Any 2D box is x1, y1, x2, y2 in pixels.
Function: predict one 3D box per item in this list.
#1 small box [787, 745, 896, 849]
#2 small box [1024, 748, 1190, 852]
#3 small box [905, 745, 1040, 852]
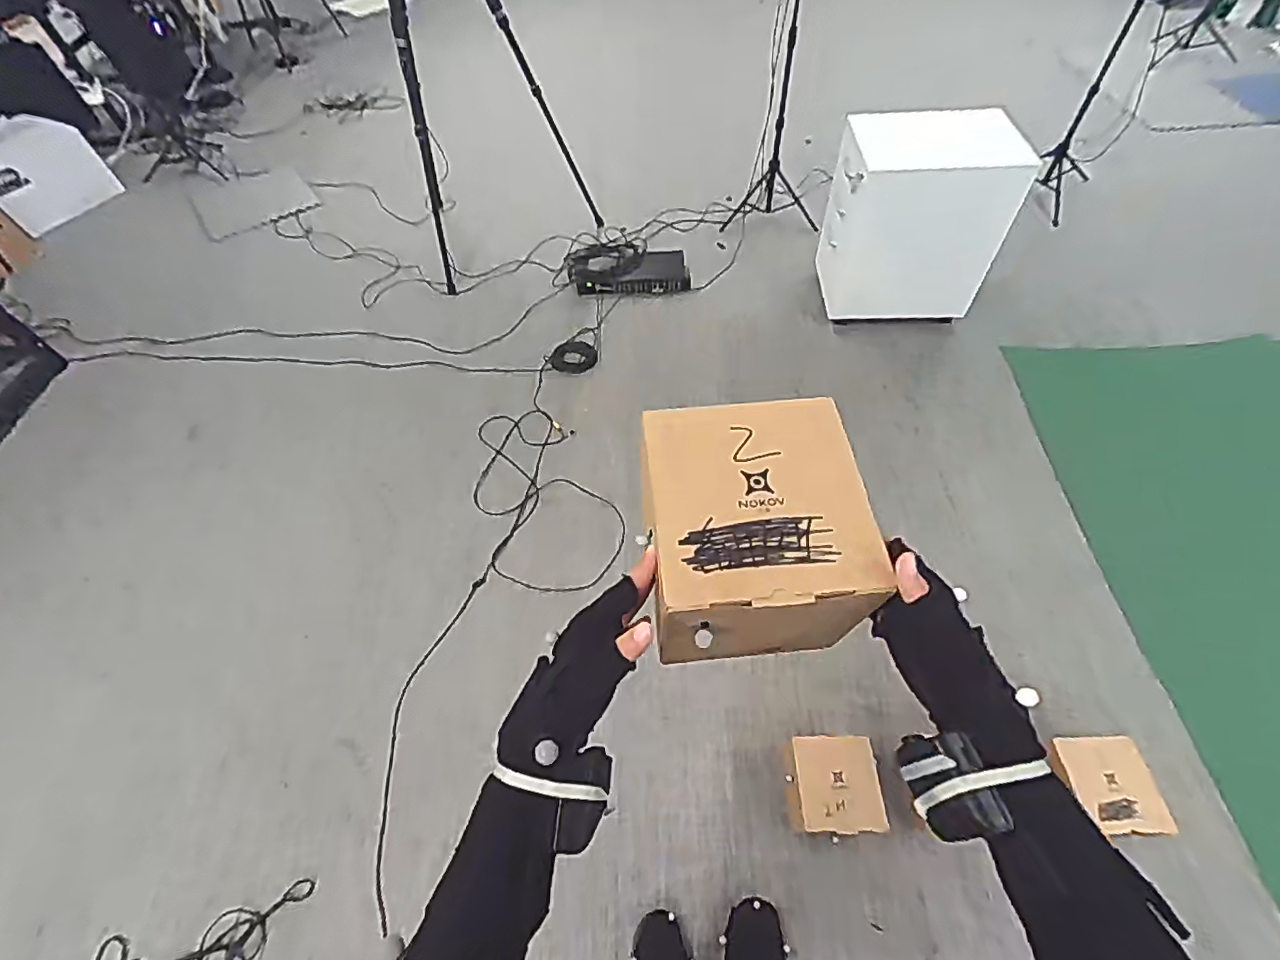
[{"bbox_3d":[0.419,0.680,1.157,0.168,0.176,0.179,-2,54,4],"label":"small box"},{"bbox_3d":[0.955,0.669,1.127,0.168,0.176,0.179,-3,53,2],"label":"small box"},{"bbox_3d":[0.687,0.675,1.144,0.168,0.176,0.179,0,55,4],"label":"small box"}]
